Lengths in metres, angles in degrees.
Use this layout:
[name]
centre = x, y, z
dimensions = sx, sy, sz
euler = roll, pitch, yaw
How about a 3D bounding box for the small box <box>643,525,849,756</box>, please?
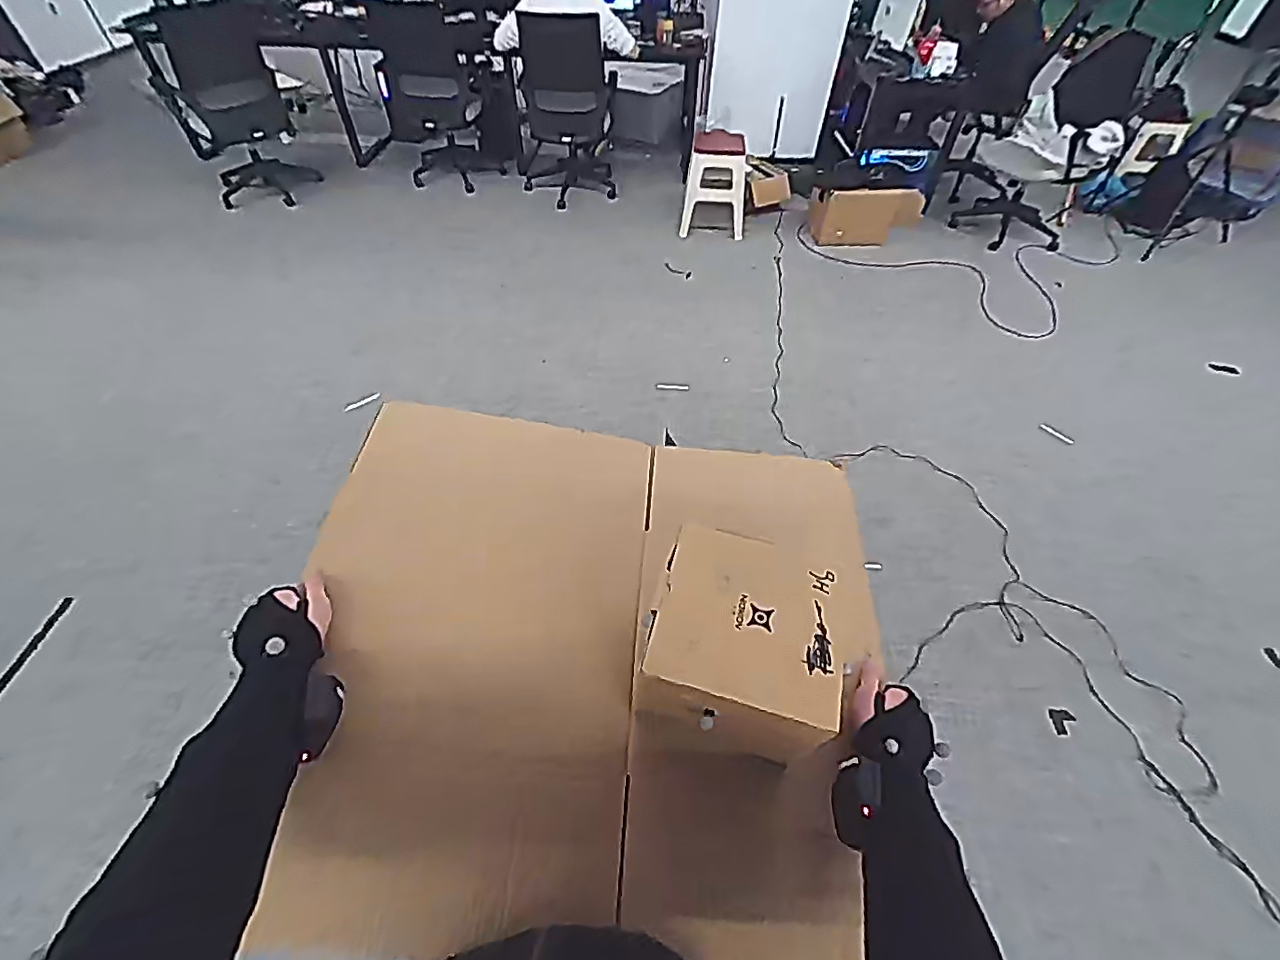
[small box]
centre = 0.106, 0.176, 0.581
dimensions = 0.179, 0.176, 0.168
euler = 14, 55, 9
